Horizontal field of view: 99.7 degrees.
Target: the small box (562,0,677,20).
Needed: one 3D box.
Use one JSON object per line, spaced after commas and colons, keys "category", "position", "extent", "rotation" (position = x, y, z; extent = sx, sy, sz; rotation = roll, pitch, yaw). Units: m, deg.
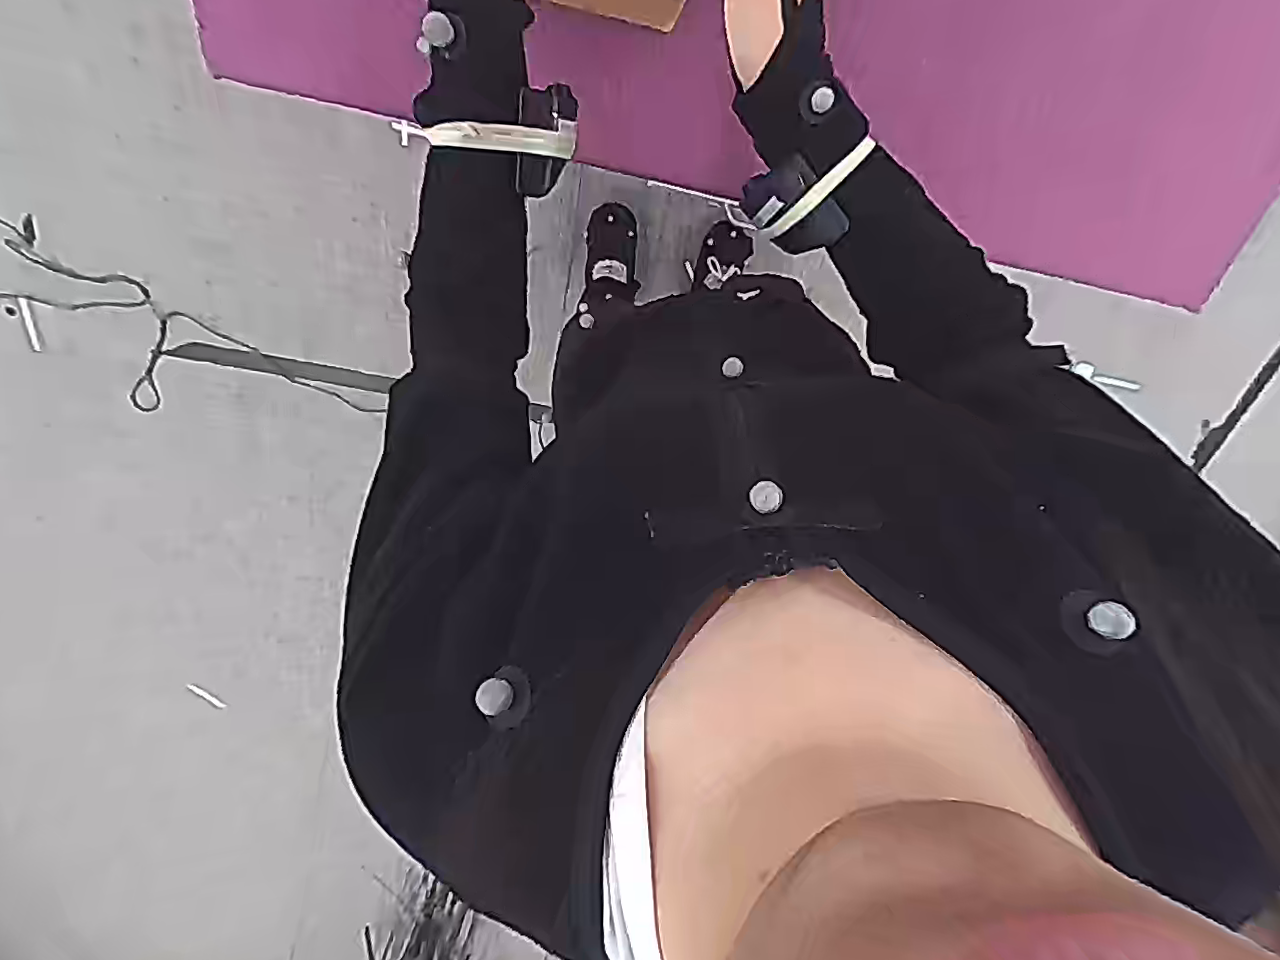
{"category": "small box", "position": [-0.033, -0.503, 0.430], "extent": [0.179, 0.176, 0.168], "rotation": [8, 117, -8]}
